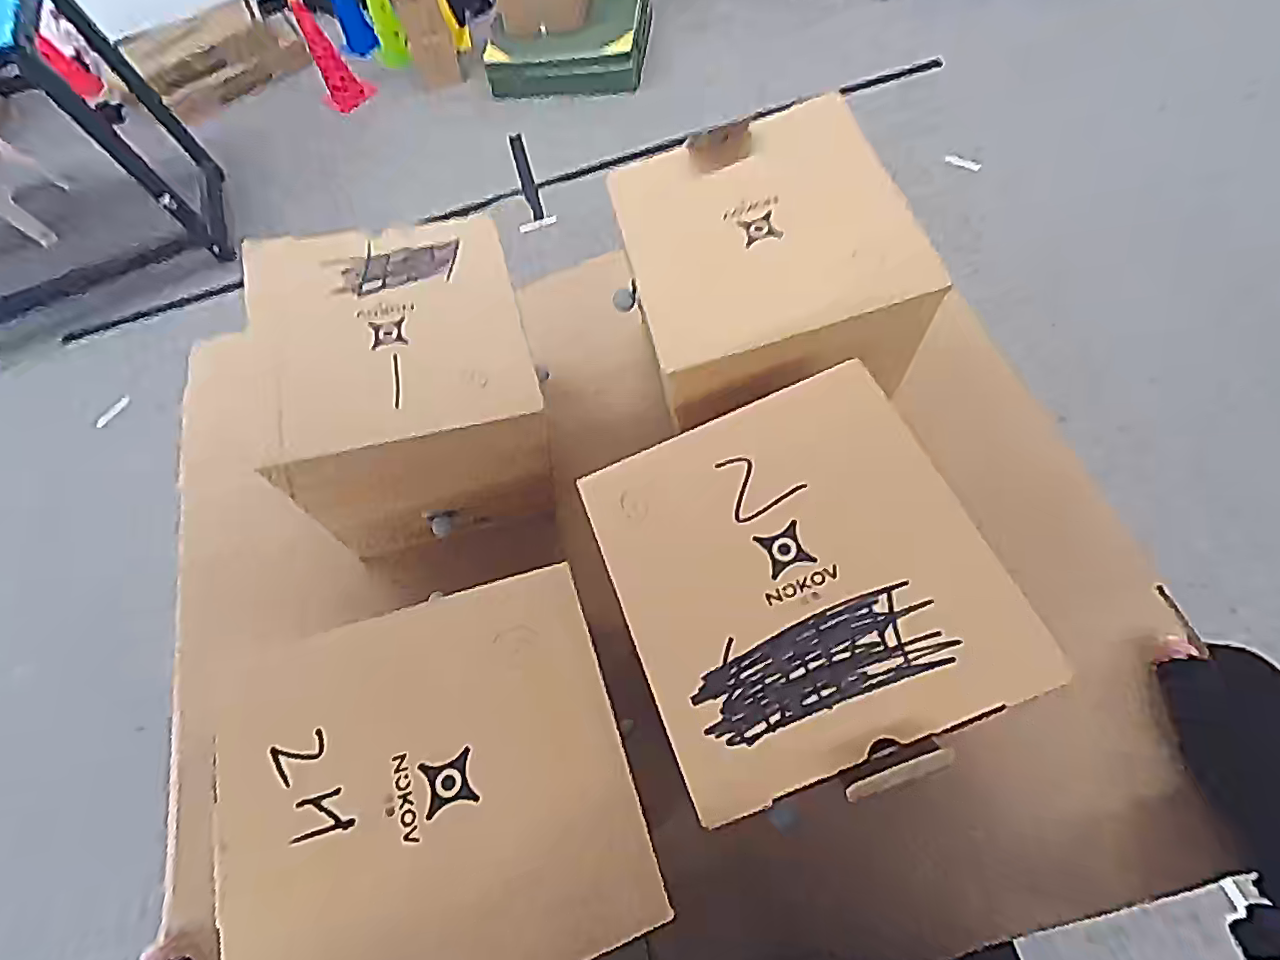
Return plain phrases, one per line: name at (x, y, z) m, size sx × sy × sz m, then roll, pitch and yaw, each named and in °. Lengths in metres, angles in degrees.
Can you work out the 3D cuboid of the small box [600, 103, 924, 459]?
small box at (0.083, -0.132, 0.419) m, size 0.168 × 0.176 × 0.179 m, roll -17°, pitch 65°, yaw 5°
